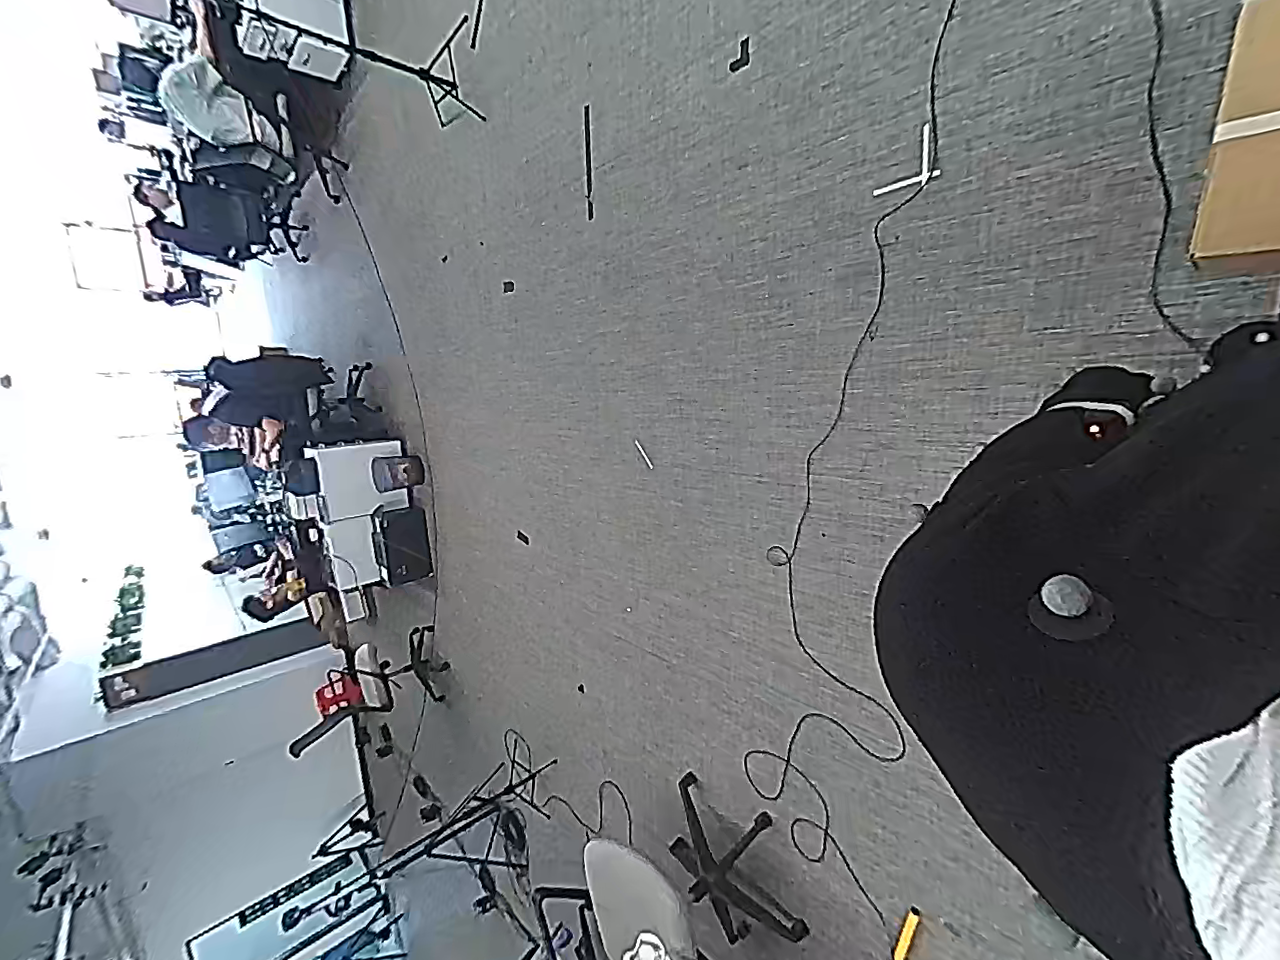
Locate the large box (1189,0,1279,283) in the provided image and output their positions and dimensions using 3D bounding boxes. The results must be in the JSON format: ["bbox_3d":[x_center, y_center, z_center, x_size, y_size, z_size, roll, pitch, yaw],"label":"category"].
[{"bbox_3d":[1.013,-0.449,0.689,0.408,0.320,0.320,13,109,46],"label":"large box"}]
